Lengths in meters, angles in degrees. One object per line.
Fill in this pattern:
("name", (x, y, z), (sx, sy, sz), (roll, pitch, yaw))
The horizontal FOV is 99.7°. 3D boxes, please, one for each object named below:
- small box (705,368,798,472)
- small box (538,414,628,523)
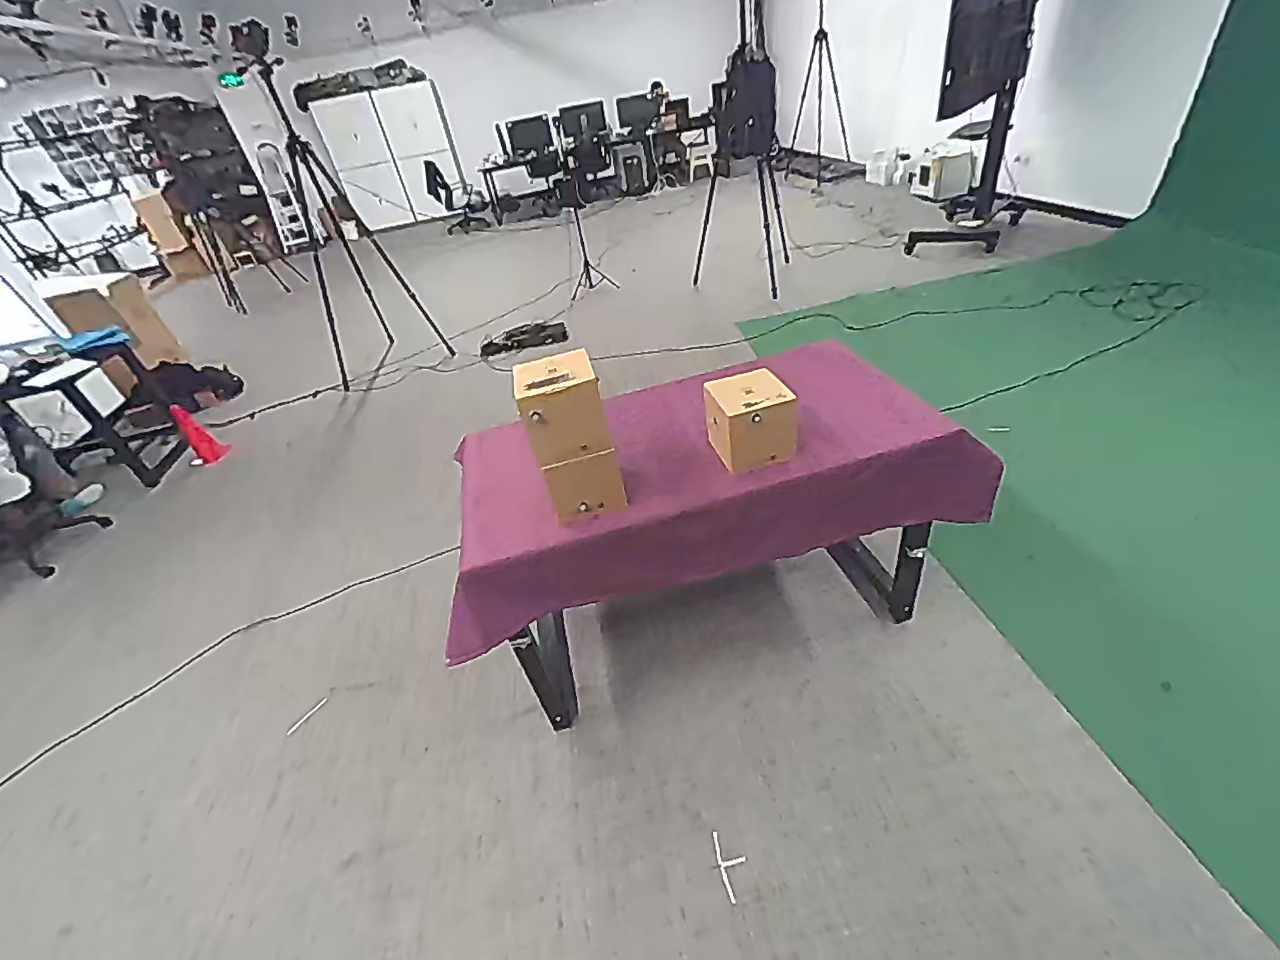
("small box", (0.267, -0.145, 1.309), (0.168, 0.176, 0.179), (-17, 37, -4))
("small box", (-0.134, -0.028, 1.269), (0.168, 0.176, 0.179), (-15, 38, -4))
